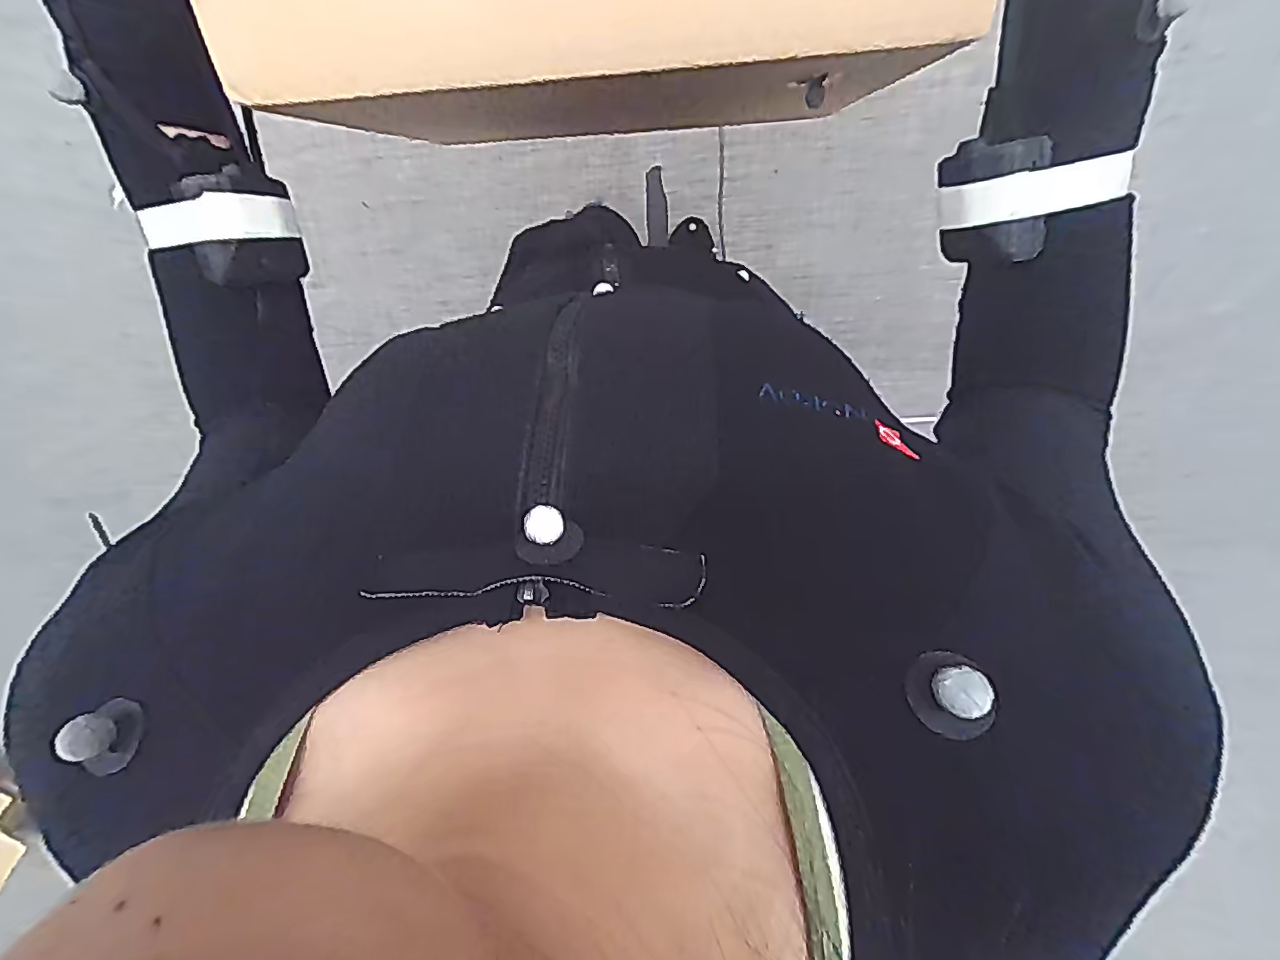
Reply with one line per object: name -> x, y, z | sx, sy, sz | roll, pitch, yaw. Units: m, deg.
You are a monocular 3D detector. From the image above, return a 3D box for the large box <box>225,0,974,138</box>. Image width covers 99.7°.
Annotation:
large box -> -0.027, -0.432, 0.357 | 0.408, 0.320, 0.320 | -2, 118, 5
